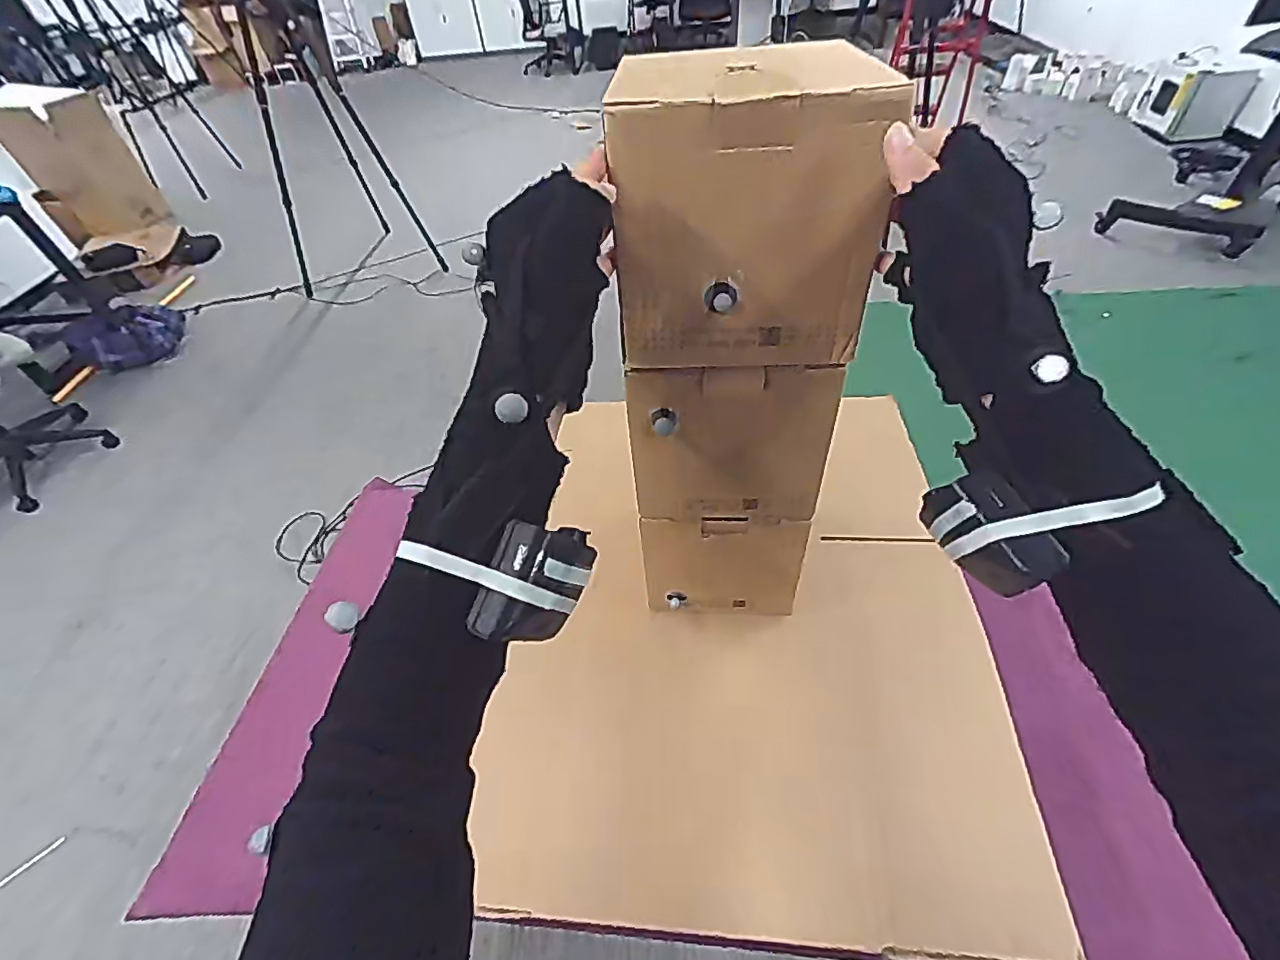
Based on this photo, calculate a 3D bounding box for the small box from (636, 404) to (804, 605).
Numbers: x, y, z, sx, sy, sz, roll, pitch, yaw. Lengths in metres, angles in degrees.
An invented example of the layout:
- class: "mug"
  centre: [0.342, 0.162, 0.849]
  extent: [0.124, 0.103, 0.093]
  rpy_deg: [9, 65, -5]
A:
- class: "small box"
  centre: [0.091, 0.030, 0.635]
  extent: [0.168, 0.176, 0.179]
  rpy_deg: [0, 45, 6]

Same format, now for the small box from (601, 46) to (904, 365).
- class: "small box"
  centre: [0.067, -0.204, 0.406]
  extent: [0.168, 0.176, 0.179]
  rpy_deg: [-1, 46, 4]
